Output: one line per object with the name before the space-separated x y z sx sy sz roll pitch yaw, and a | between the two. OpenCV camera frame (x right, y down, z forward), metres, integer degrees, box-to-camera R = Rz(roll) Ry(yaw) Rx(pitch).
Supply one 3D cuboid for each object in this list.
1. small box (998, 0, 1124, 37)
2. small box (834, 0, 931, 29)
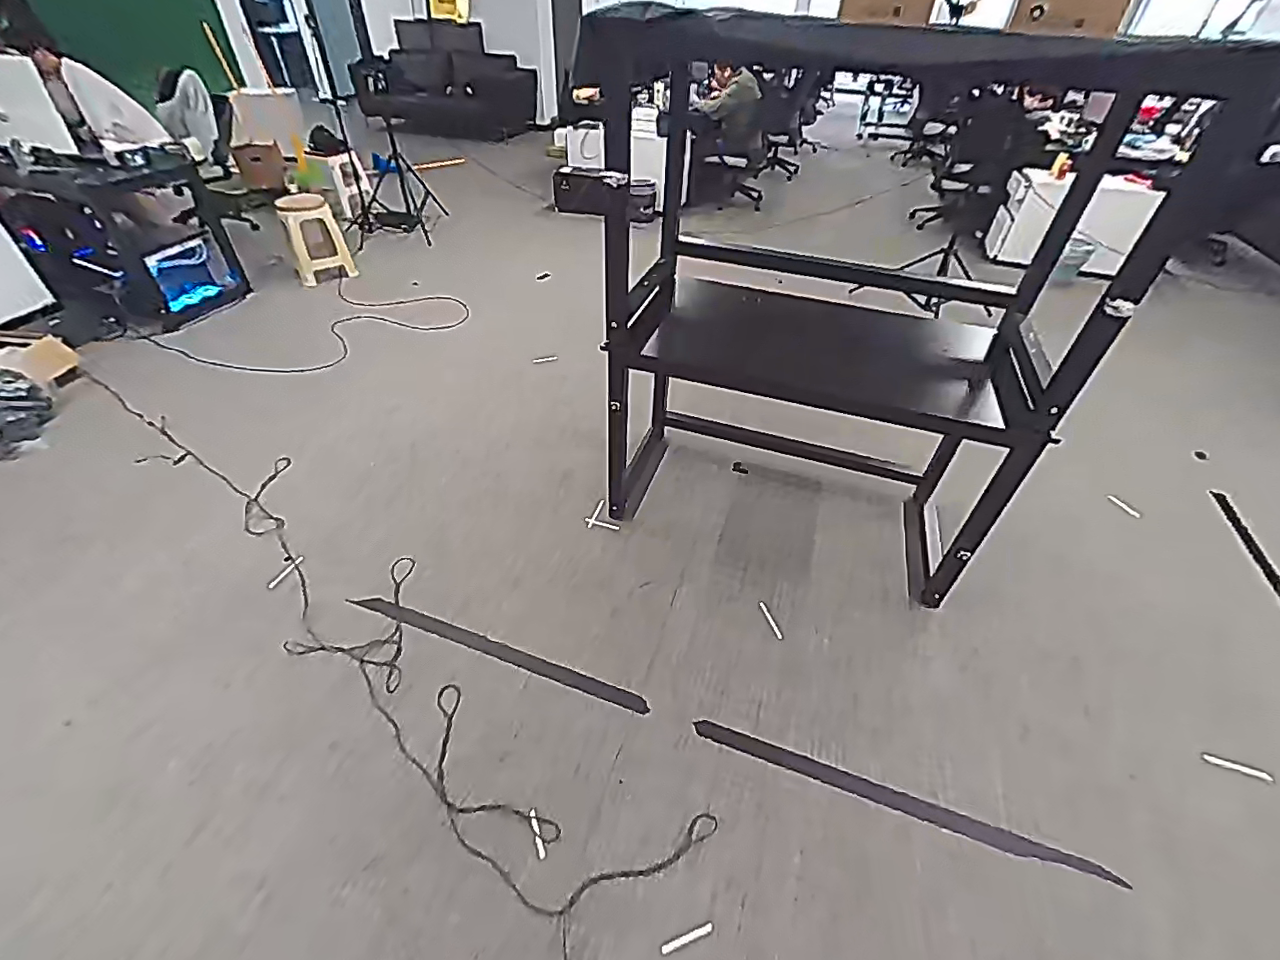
small box | 0.753 -0.883 0.942 0.168 0.176 0.179 17 42 16
small box | 0.469 -0.955 1.003 0.168 0.176 0.179 15 41 14
